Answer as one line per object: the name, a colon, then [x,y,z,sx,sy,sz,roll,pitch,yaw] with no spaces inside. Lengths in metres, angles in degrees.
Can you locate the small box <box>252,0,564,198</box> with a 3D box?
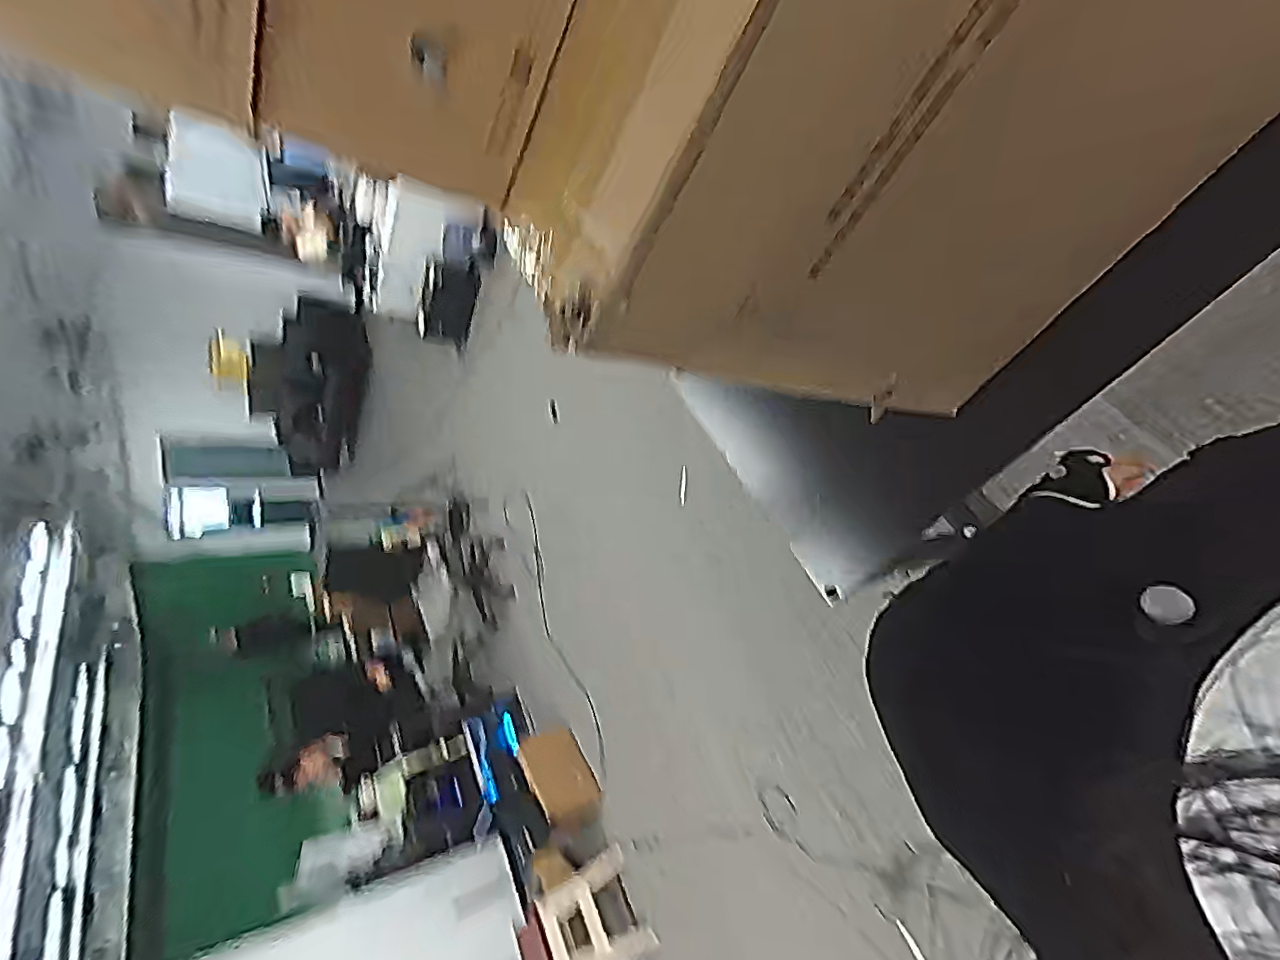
small box: [-0.177,-0.336,0.393,0.168,0.176,0.179,-55,51,34]

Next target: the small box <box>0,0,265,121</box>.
small box: [-0.297,-0.327,0.278,0.168,0.176,0.179,-54,51,35]
